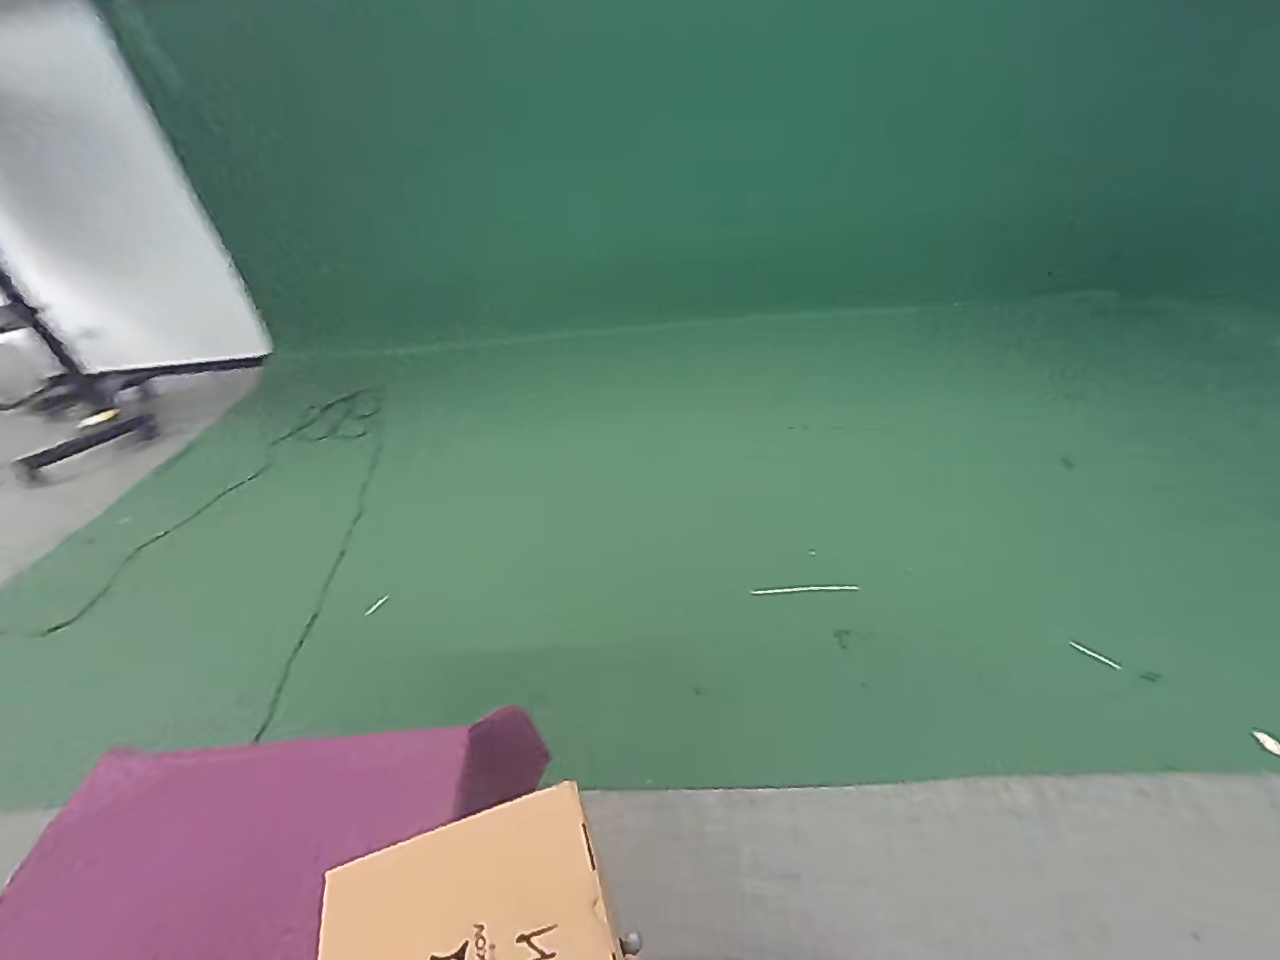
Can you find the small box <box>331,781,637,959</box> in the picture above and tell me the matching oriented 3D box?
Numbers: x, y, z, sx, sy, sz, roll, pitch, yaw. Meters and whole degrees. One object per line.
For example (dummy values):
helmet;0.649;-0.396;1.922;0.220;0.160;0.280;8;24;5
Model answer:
small box;-0.093;0.352;0.377;0.179;0.176;0.168;-13;41;-11
